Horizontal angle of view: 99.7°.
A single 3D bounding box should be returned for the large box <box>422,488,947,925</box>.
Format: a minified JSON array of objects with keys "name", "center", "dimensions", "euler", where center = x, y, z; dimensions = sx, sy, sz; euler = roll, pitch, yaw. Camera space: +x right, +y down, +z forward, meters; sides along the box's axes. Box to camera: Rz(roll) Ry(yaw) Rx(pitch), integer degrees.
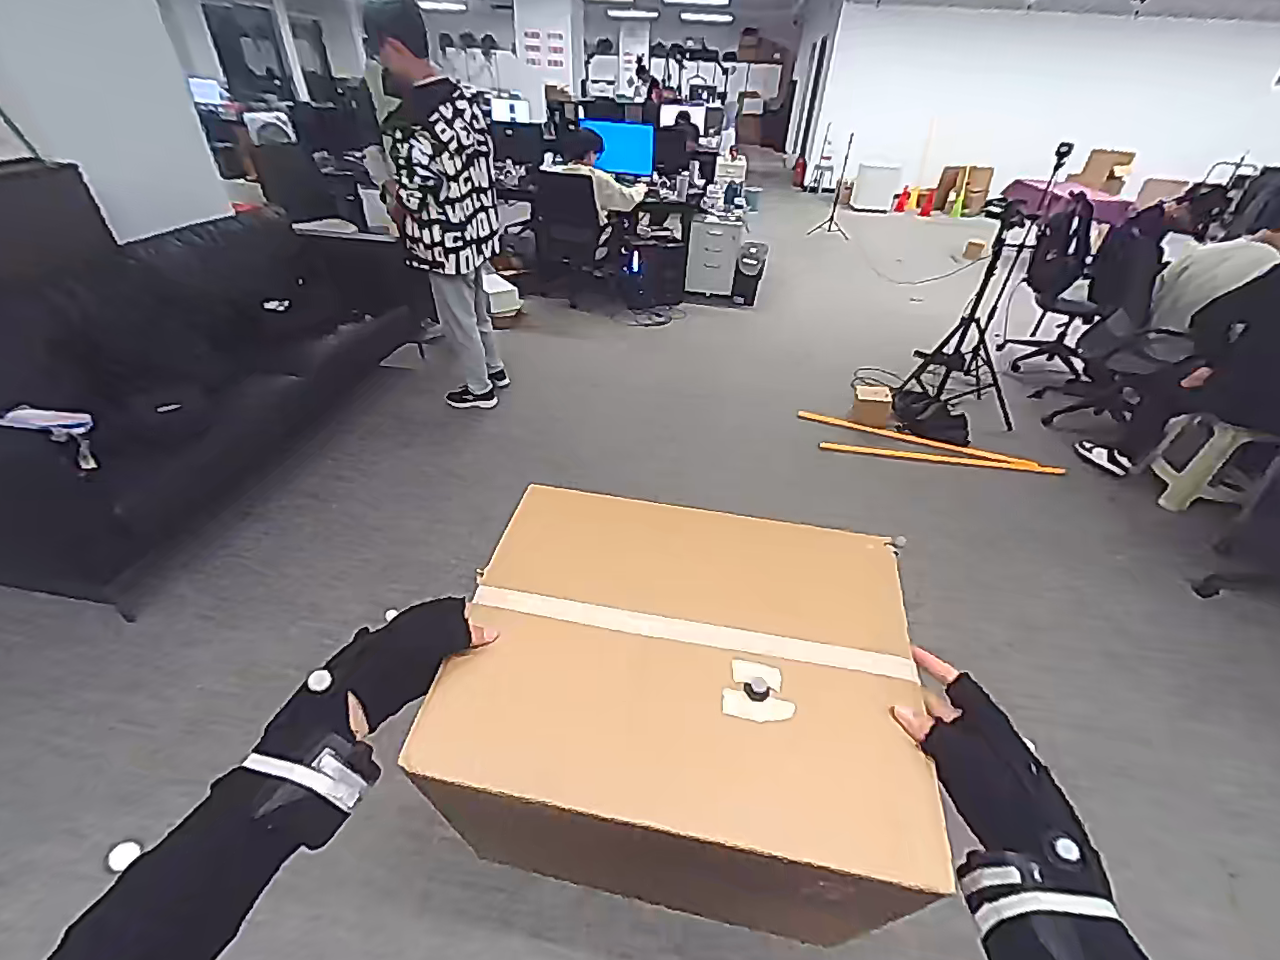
[{"name":"large box","center":[0.043,0.245,0.608],"dimensions":[0.408,0.320,0.320],"euler":[9,45,6]}]
